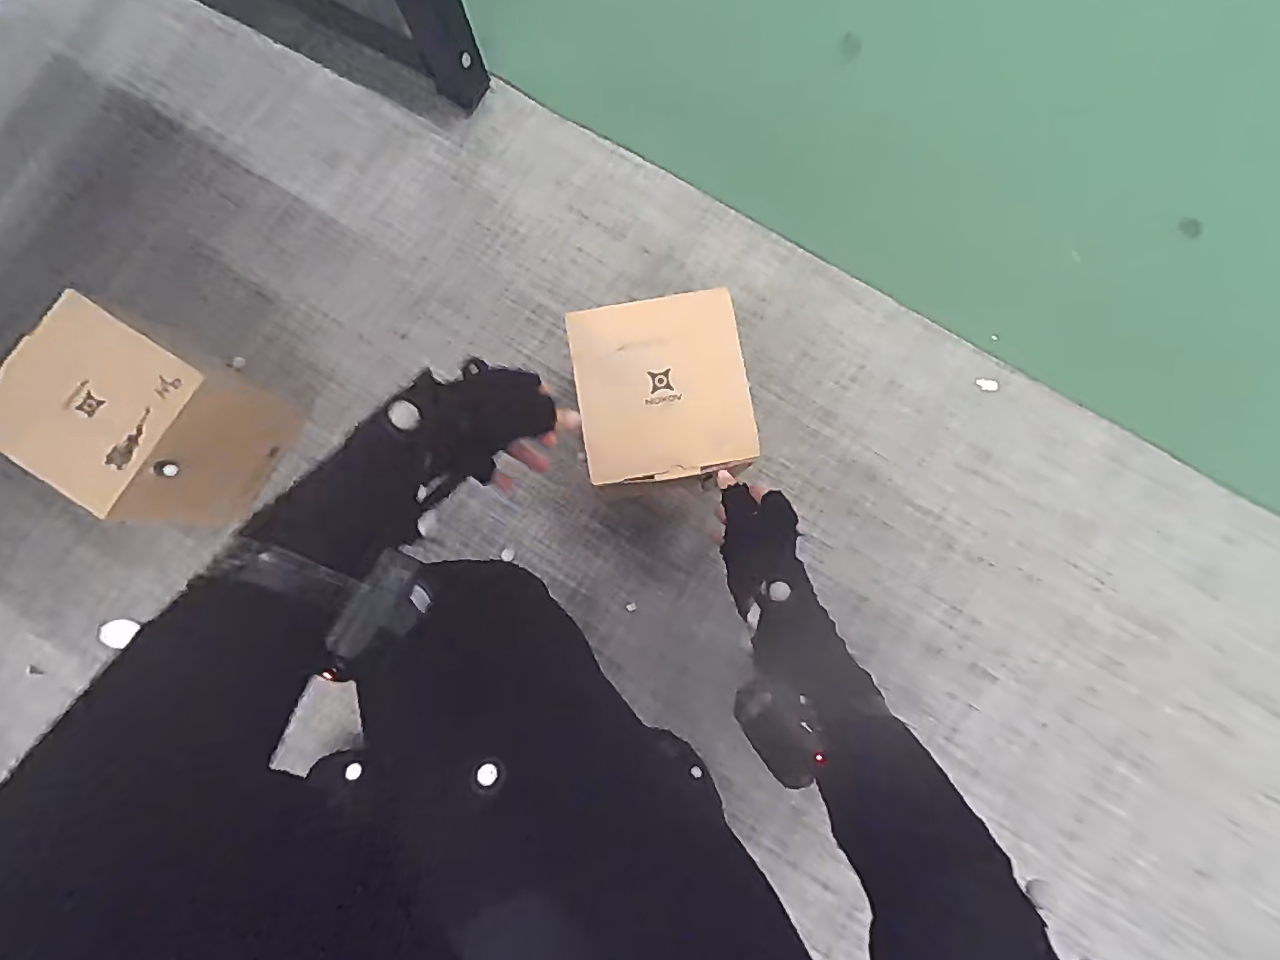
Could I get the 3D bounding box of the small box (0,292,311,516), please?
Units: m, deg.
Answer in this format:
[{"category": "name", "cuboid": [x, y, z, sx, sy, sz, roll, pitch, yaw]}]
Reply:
[{"category": "small box", "cuboid": [-0.529, -0.069, 0.608, 0.179, 0.176, 0.168, 32, 86, 6]}]
